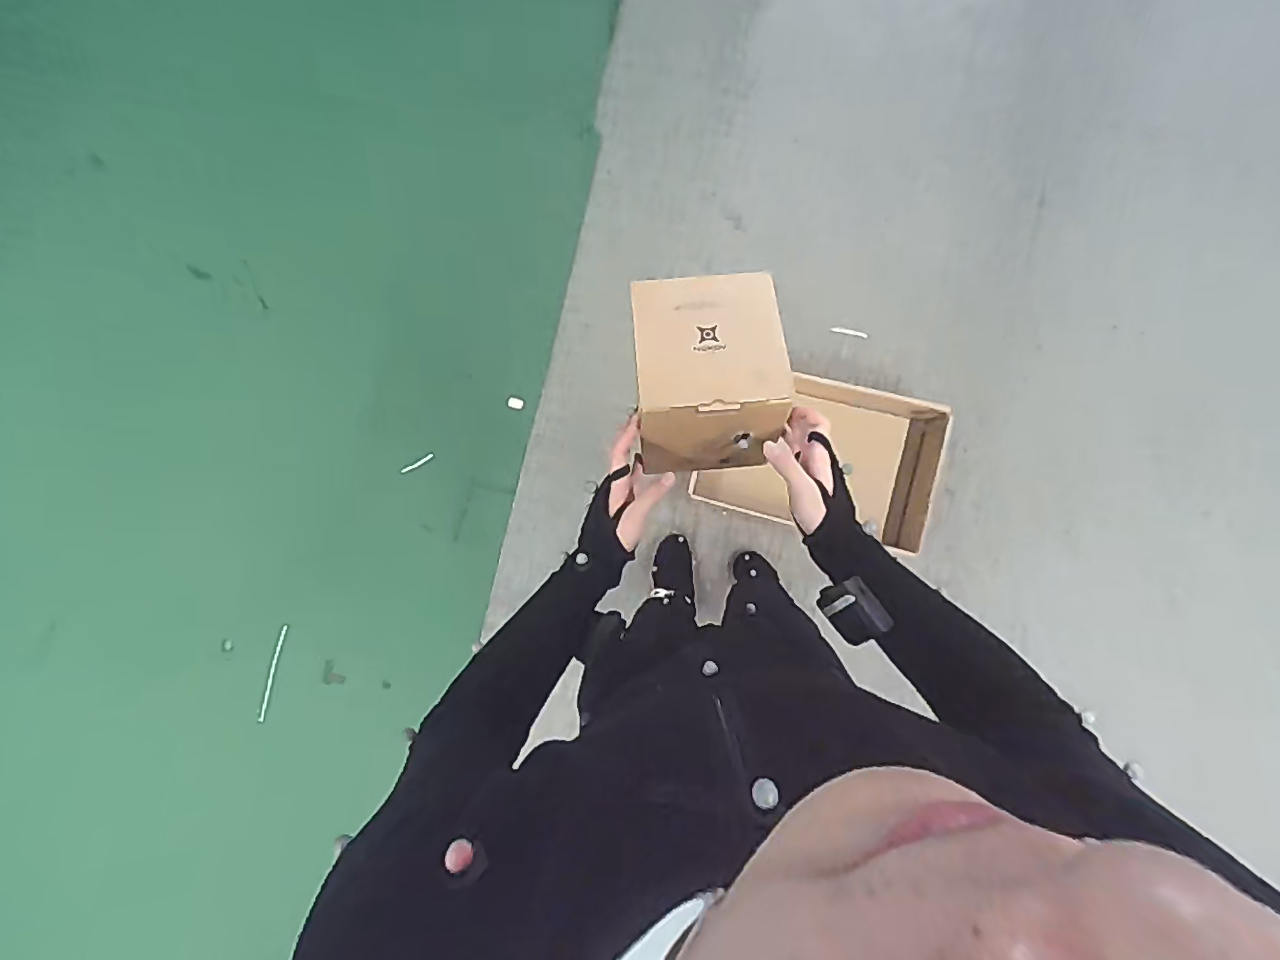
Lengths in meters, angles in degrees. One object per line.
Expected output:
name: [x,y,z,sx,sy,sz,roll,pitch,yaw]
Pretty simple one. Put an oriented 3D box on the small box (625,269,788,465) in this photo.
small box: [0.071,-0.126,0.659,0.168,0.176,0.179,-4,67,0]
